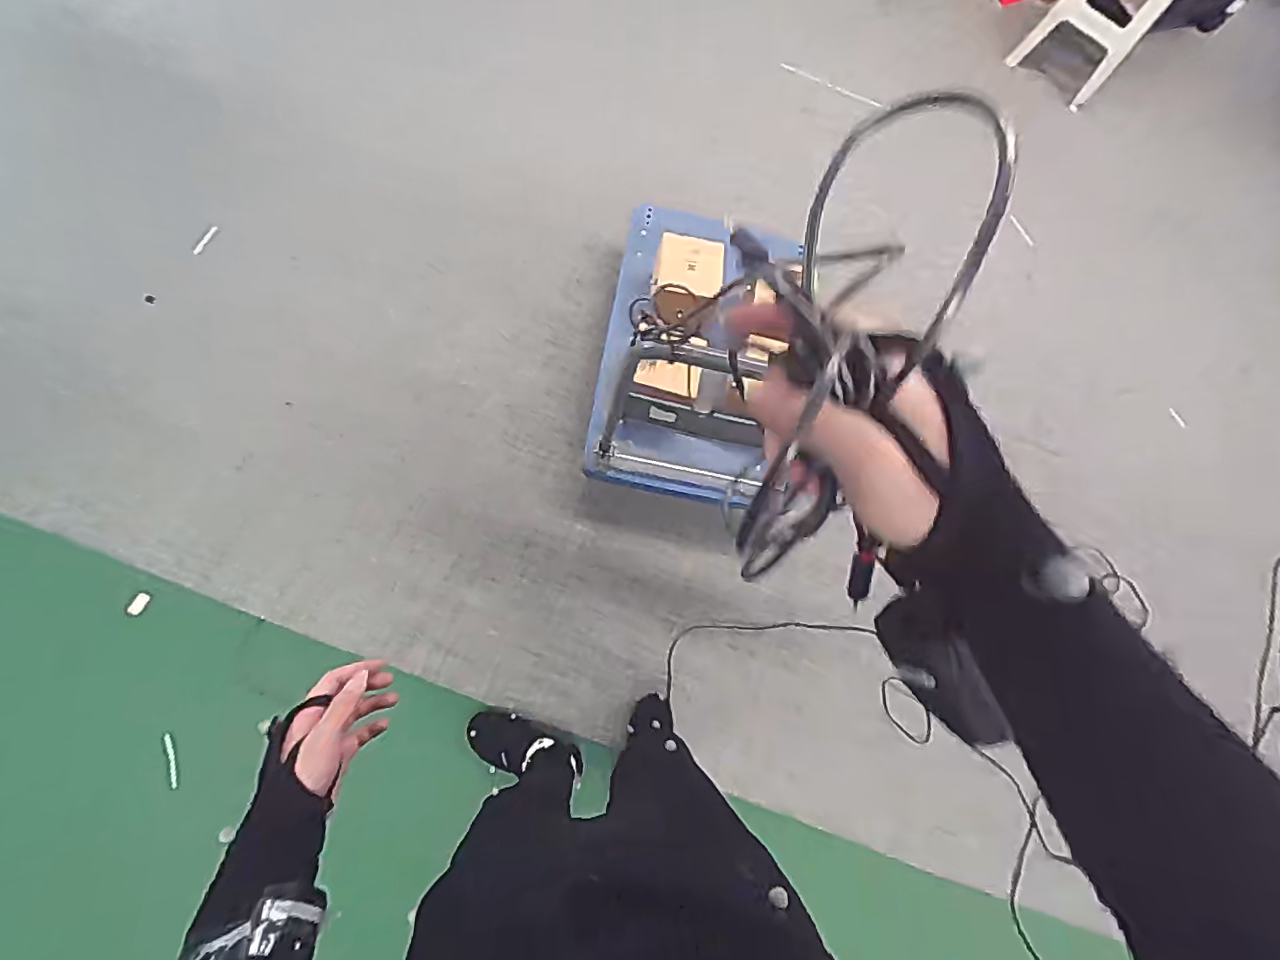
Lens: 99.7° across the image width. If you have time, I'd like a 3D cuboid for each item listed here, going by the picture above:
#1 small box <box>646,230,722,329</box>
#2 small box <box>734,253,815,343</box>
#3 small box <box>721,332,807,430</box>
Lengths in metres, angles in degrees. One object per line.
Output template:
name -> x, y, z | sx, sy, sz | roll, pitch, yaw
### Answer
small box -> 0.114, -0.535, 1.464 | 0.168, 0.176, 0.179 | 8, 74, -7
small box -> 0.365, -0.485, 1.486 | 0.168, 0.176, 0.179 | 9, 74, -5
small box -> 0.320, -0.254, 1.417 | 0.168, 0.176, 0.179 | 13, 74, -4
